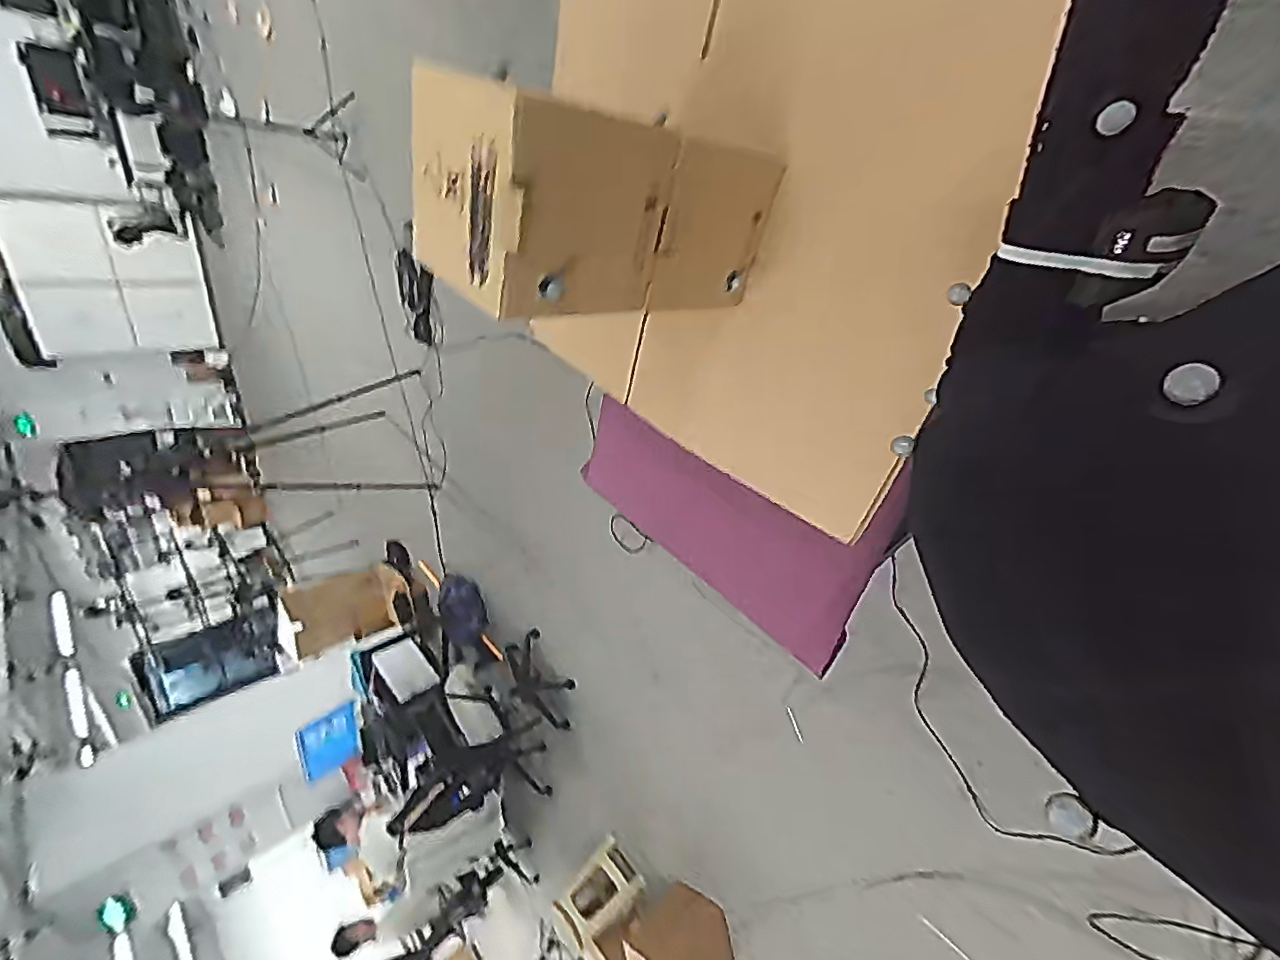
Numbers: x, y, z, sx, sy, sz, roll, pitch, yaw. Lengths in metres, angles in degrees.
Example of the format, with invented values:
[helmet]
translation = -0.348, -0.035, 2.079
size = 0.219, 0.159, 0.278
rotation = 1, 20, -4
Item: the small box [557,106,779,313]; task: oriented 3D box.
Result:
[small box]
translation = 0.029, -0.309, 0.627
size = 0.179, 0.176, 0.168
rotation = 40, 131, 32
